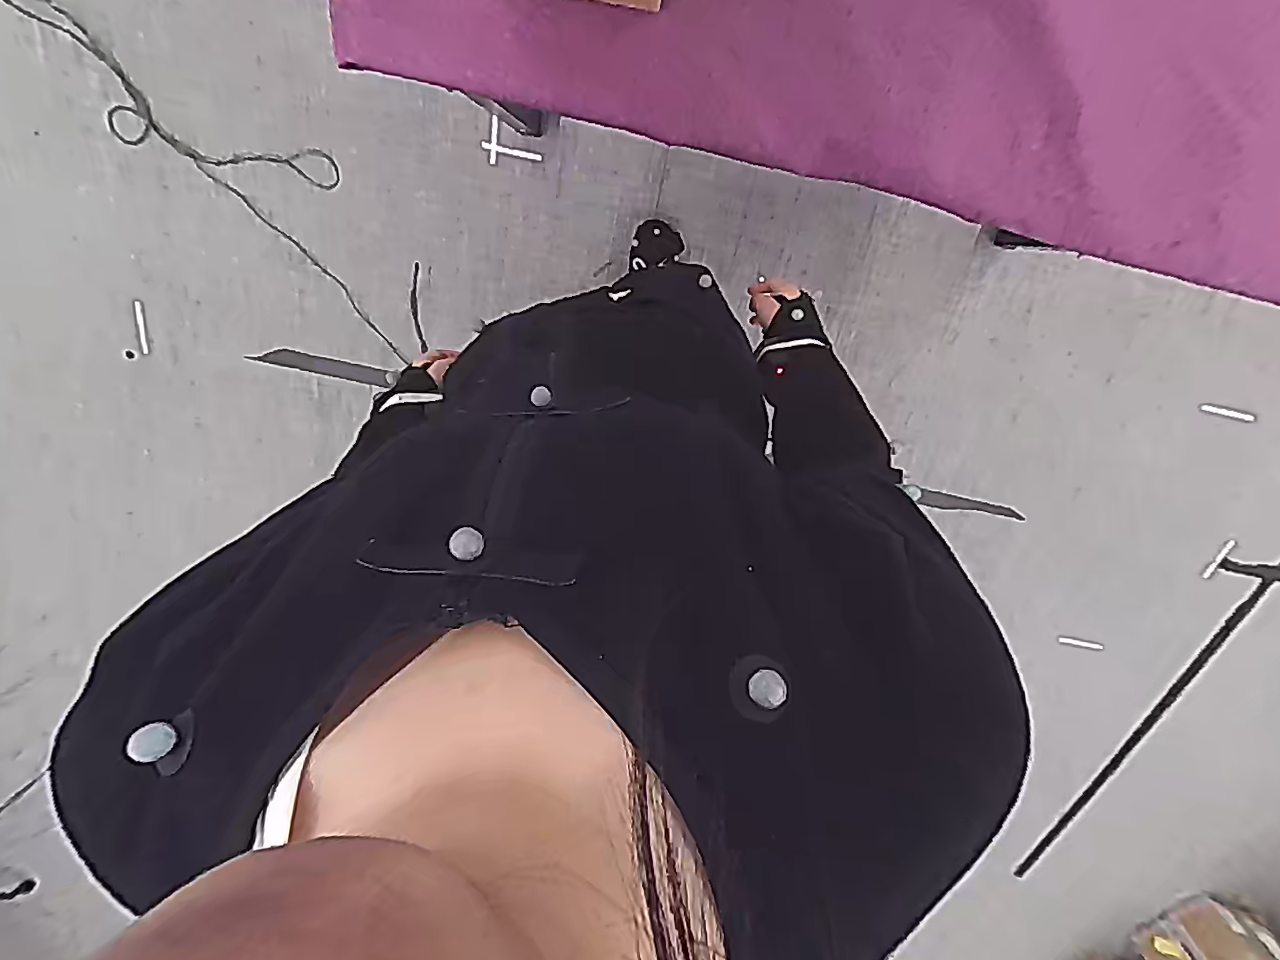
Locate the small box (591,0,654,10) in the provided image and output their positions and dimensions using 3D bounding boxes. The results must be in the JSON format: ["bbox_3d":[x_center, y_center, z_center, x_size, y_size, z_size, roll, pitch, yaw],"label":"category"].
[{"bbox_3d":[-0.052,-0.530,0.433,0.168,0.176,0.179,9,114,-3],"label":"small box"}]
